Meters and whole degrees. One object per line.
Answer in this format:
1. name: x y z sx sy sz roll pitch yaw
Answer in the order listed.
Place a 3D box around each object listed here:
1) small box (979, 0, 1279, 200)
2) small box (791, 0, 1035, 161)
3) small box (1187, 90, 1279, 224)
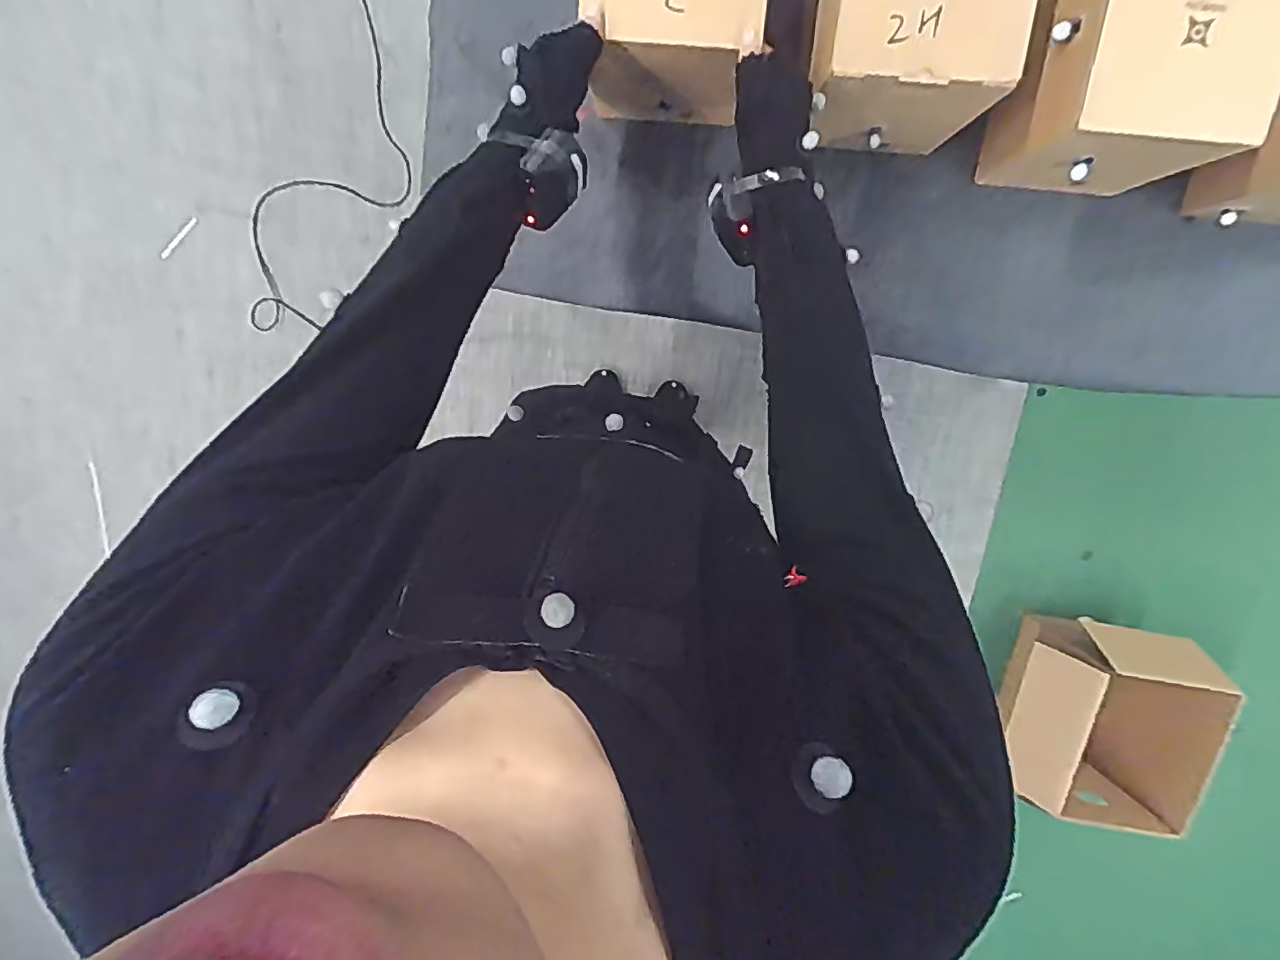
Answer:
1. small box: 0.475 -0.397 0.538 0.168 0.176 0.179 6 102 1
2. small box: 0.257 -0.446 0.533 0.168 0.176 0.179 5 103 2
3. small box: 0.713 -0.363 0.533 0.168 0.176 0.179 5 102 1
